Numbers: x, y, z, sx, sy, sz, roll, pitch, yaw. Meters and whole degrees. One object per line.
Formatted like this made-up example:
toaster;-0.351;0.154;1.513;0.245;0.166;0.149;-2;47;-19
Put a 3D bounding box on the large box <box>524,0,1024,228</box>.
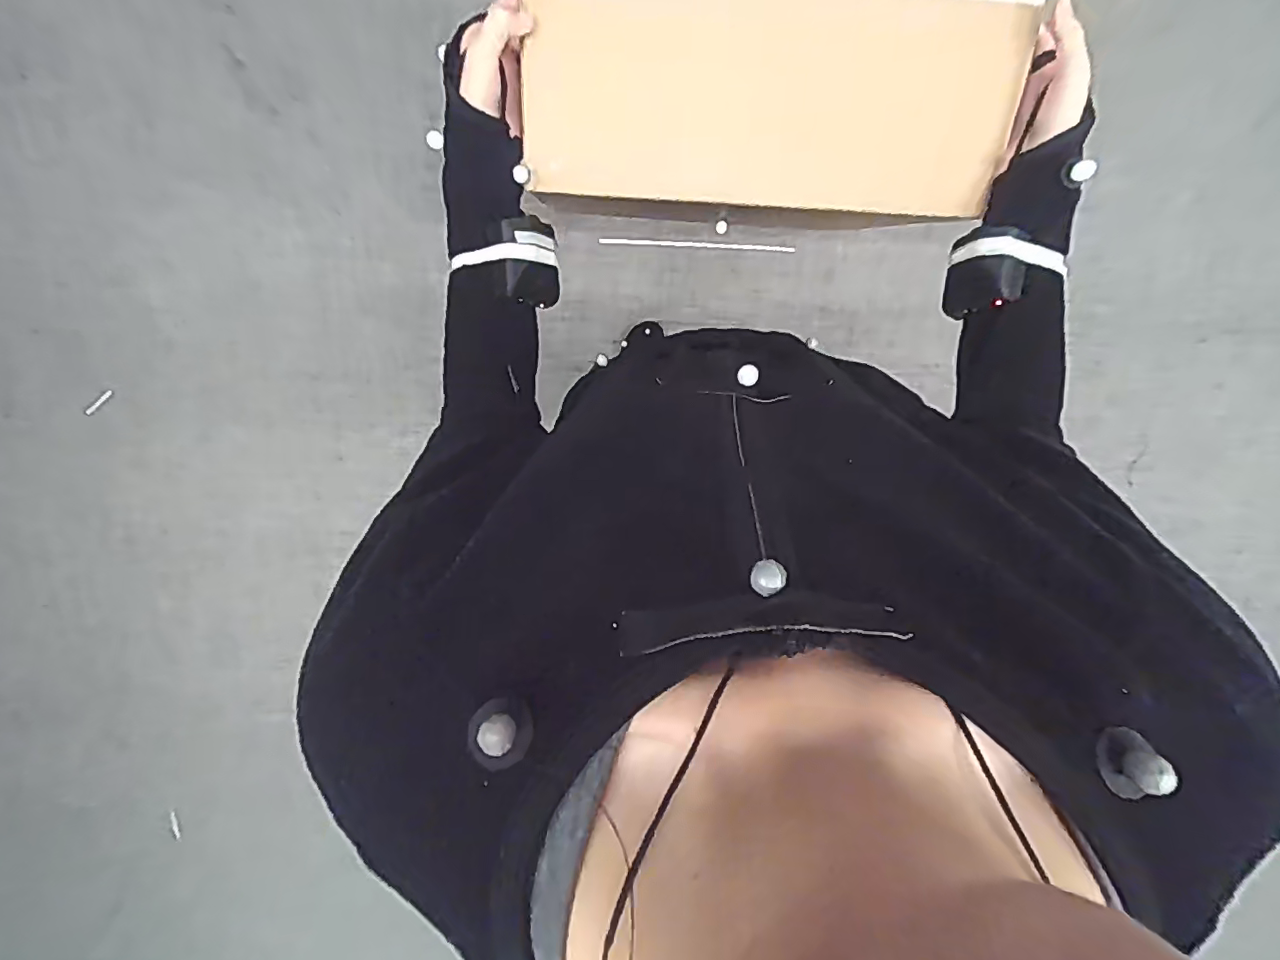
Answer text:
large box;0.102;-0.437;0.557;0.408;0.320;0.320;1;112;-4
